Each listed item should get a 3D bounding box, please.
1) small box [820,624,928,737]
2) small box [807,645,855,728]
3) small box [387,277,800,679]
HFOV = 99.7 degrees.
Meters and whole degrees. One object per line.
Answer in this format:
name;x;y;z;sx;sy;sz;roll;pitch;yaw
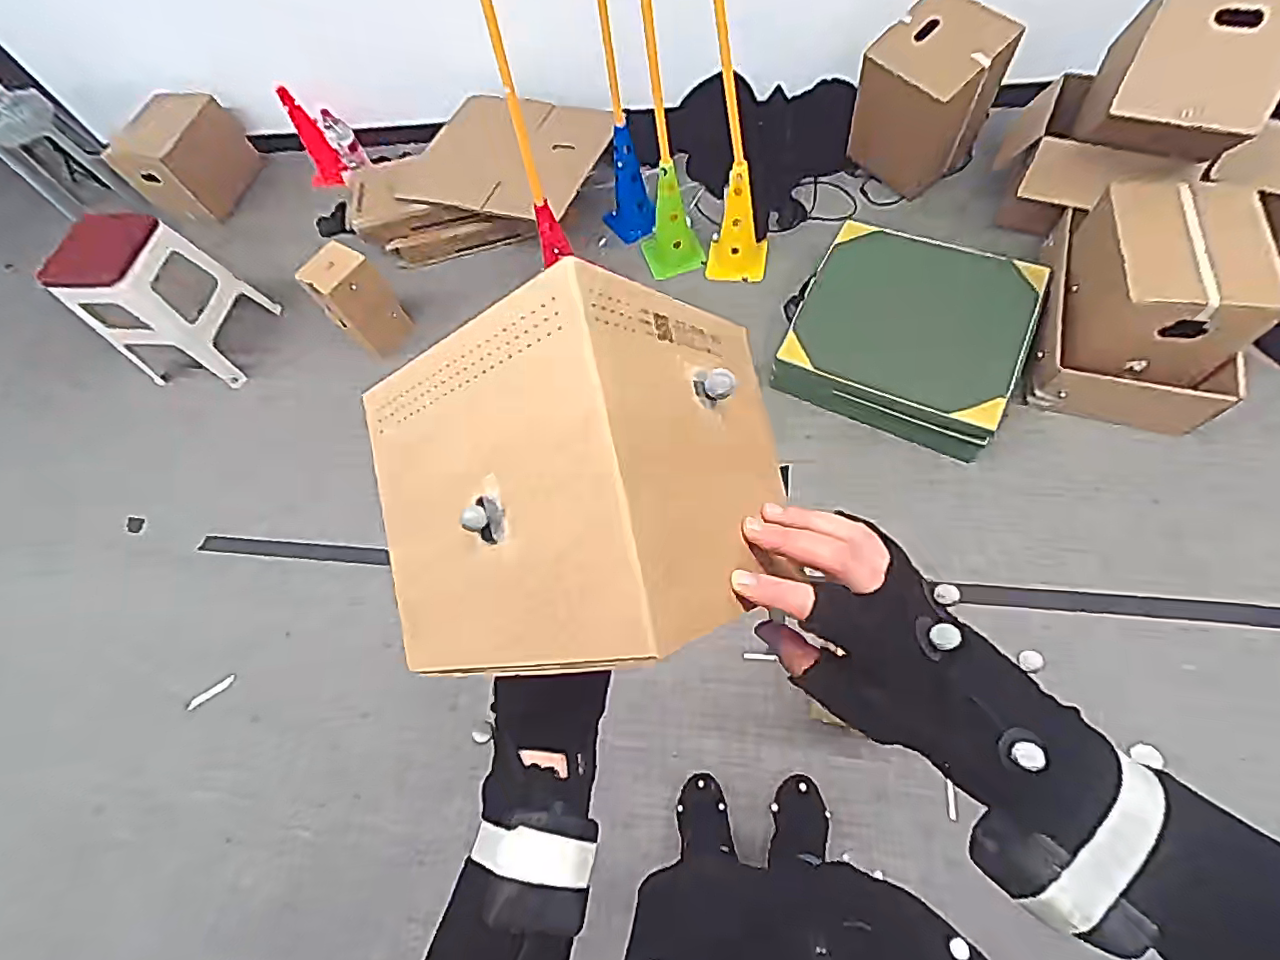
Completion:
small box;0.458;0.401;1.077;0.168;0.176;0.179;6;67;12
small box;0.488;0.466;1.224;0.179;0.176;0.168;7;66;10
small box;-0.030;0.007;0.327;0.179;0.168;0.176;-18;83;36
